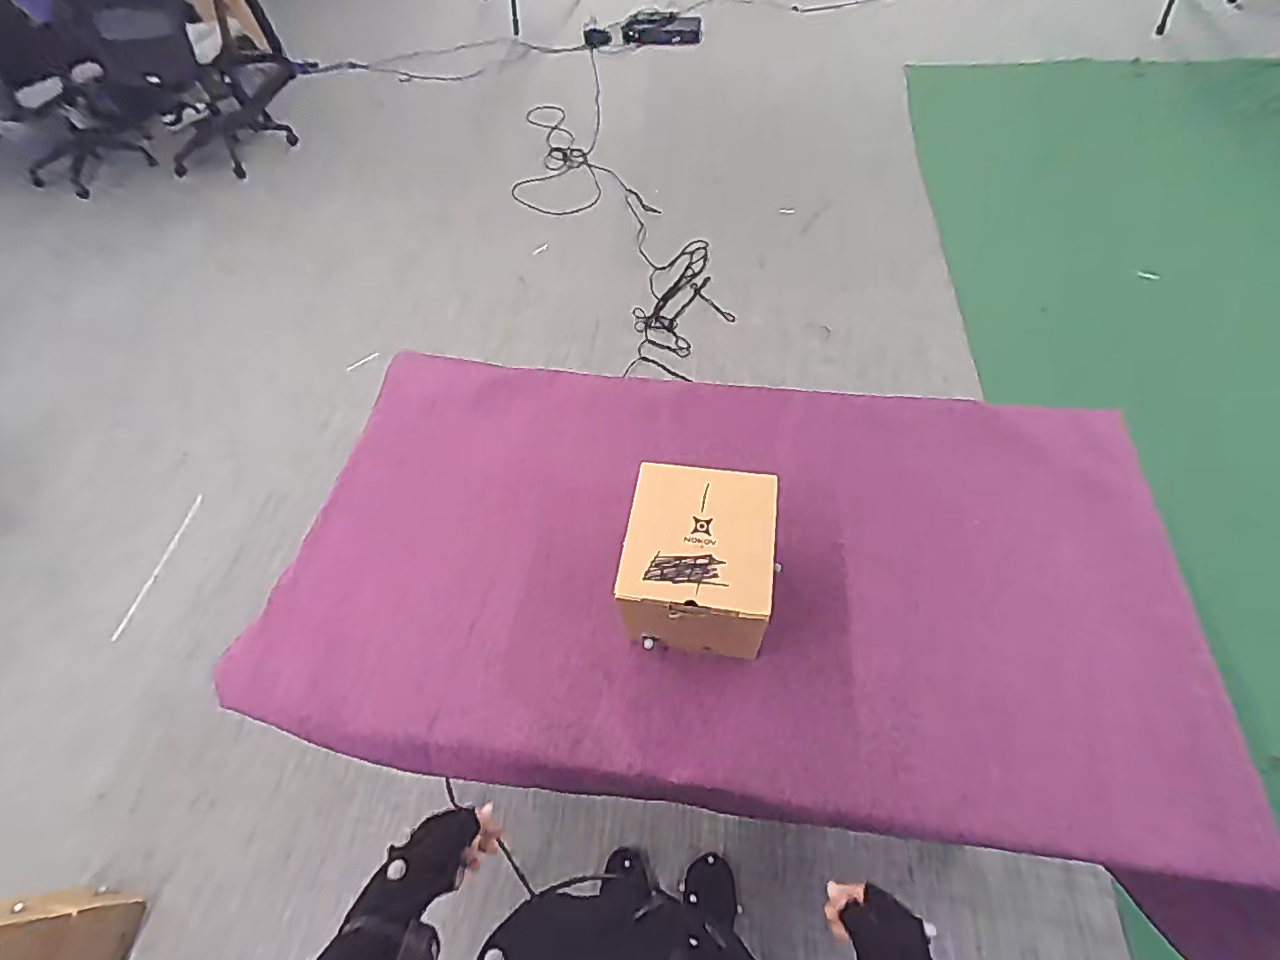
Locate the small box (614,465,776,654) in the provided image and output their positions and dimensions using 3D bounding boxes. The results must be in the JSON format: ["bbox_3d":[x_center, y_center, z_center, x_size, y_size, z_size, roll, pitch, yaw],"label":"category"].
[{"bbox_3d":[0.073,0.105,0.679,0.168,0.176,0.179,6,58,9],"label":"small box"}]
